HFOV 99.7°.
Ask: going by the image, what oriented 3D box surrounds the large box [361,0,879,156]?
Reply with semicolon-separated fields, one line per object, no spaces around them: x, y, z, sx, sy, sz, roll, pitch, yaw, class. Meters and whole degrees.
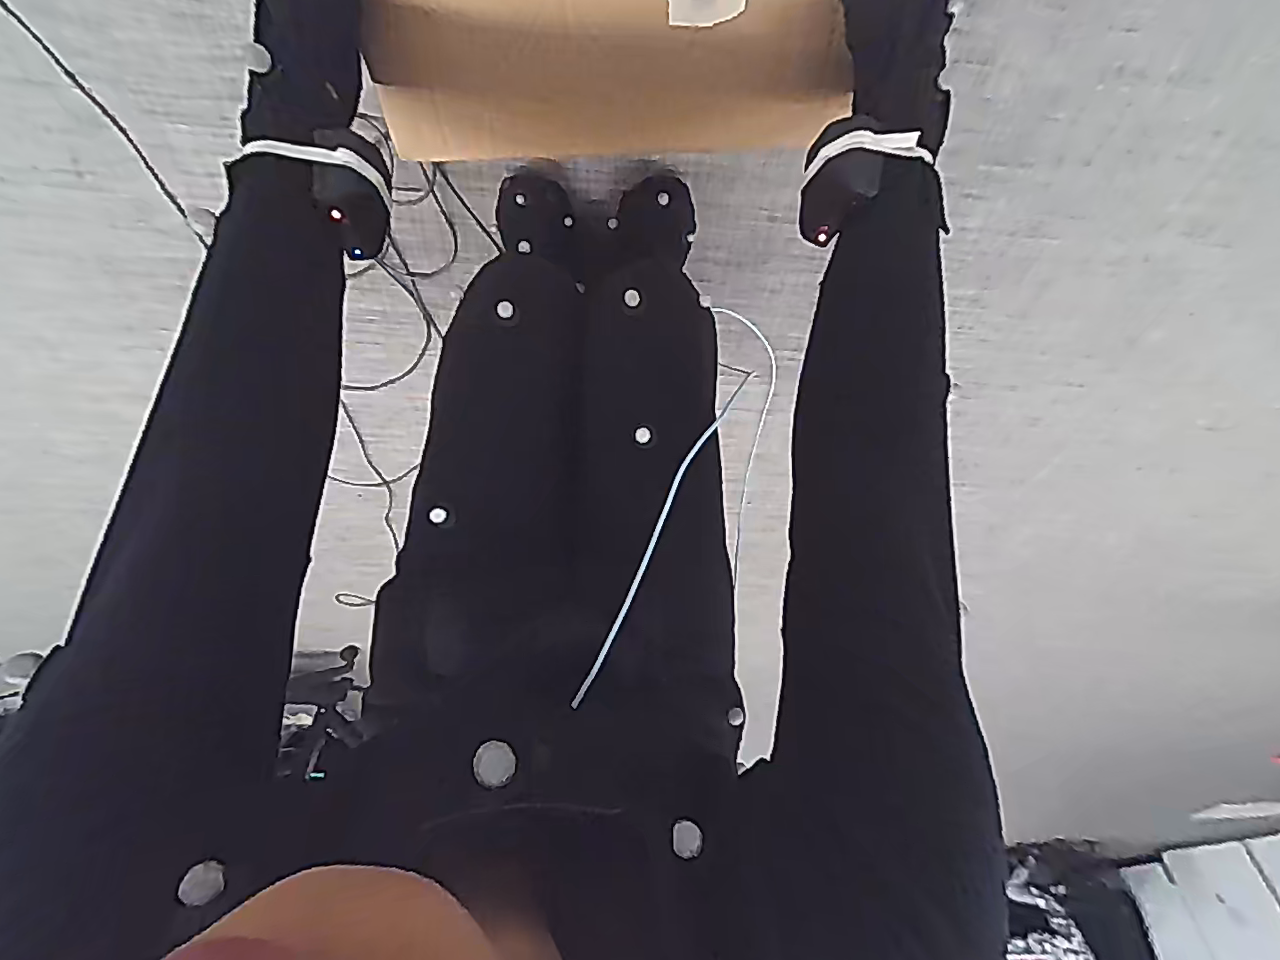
-0.018;-0.512;0.472;0.408;0.320;0.320;-1;138;2;large box
